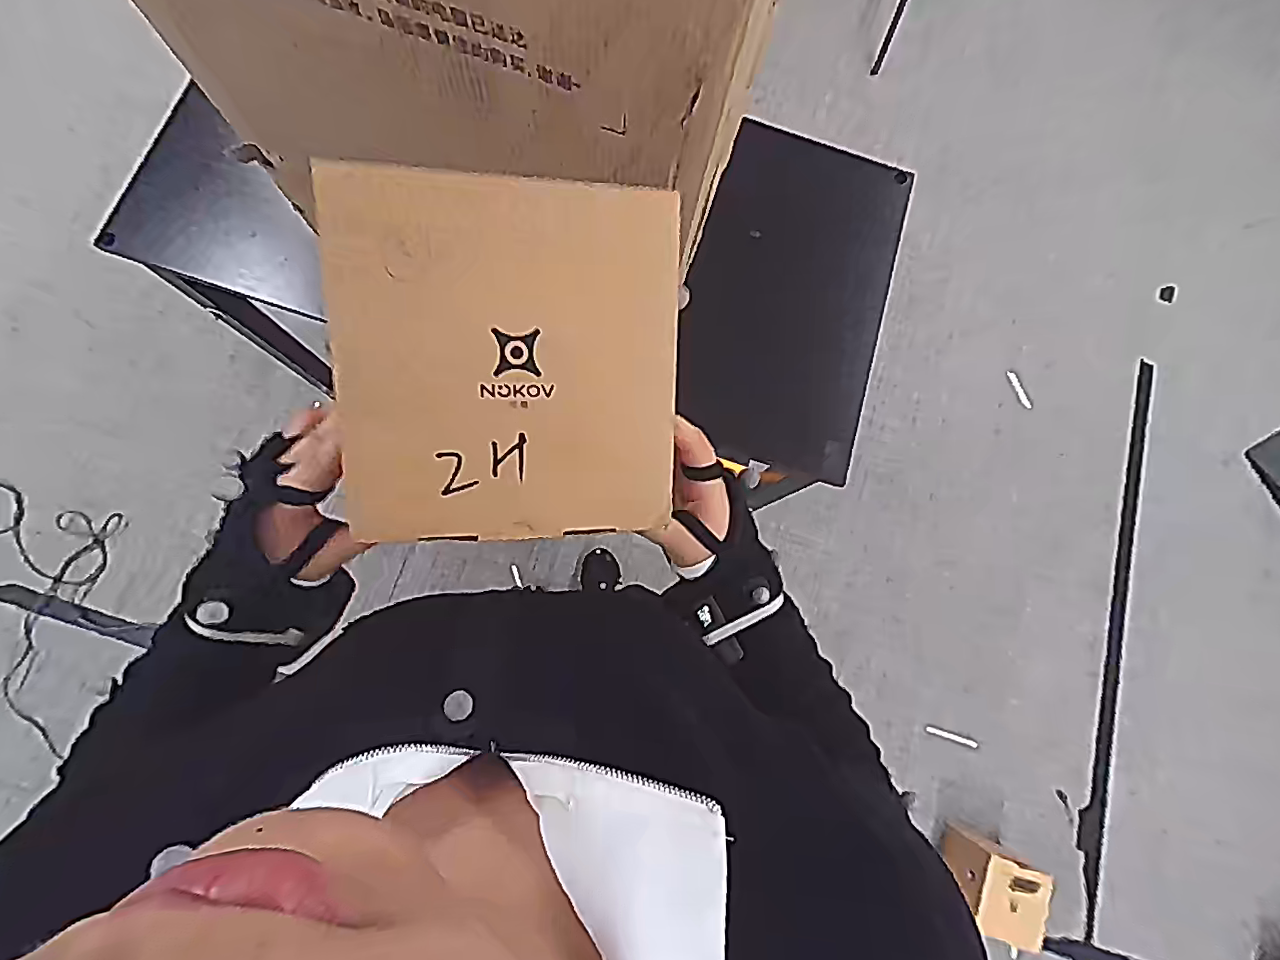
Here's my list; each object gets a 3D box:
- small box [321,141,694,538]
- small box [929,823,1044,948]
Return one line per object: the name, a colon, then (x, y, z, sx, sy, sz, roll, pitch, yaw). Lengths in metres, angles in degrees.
small box: (-0.073, -0.076, 0.334, 0.168, 0.176, 0.179, -1, 105, -12)
small box: (0.875, 1.020, 1.379, 0.168, 0.176, 0.179, 22, 79, -1)
